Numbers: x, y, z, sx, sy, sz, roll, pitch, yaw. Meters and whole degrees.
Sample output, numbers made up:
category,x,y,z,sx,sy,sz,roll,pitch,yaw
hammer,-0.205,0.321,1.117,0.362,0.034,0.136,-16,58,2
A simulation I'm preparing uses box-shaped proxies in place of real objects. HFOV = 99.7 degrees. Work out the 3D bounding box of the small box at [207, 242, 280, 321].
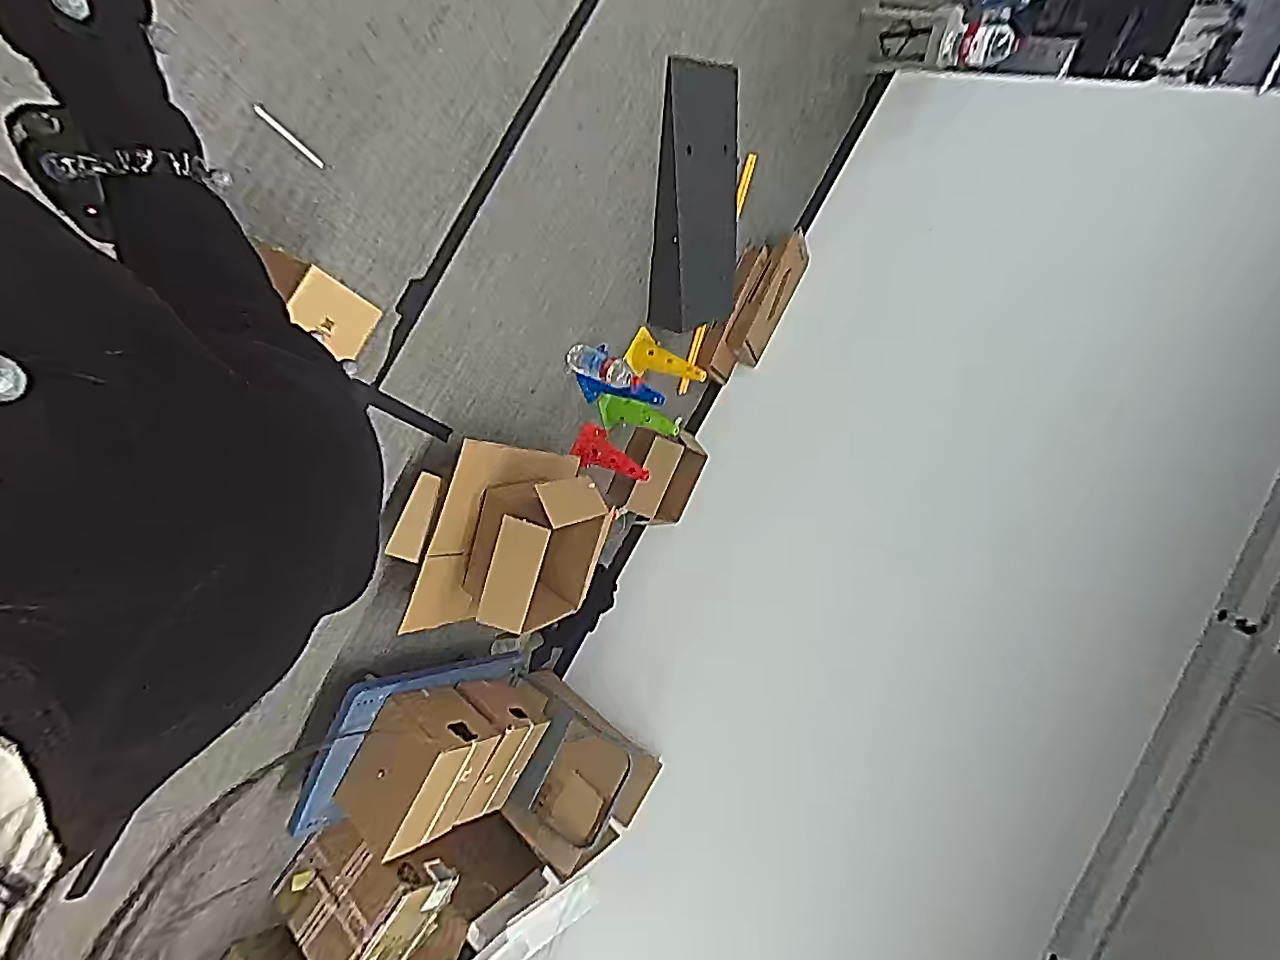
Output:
category,x,y,z,sx,sy,sz,roll,pitch,yaw
small box,-0.801,-0.400,1.196,0.168,0.176,0.179,-60,153,-2

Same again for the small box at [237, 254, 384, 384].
category,x,y,z,sx,sy,sz,roll,pitch,yaw
small box,-0.679,-0.333,1.113,0.179,0.176,0.168,-60,152,-3
